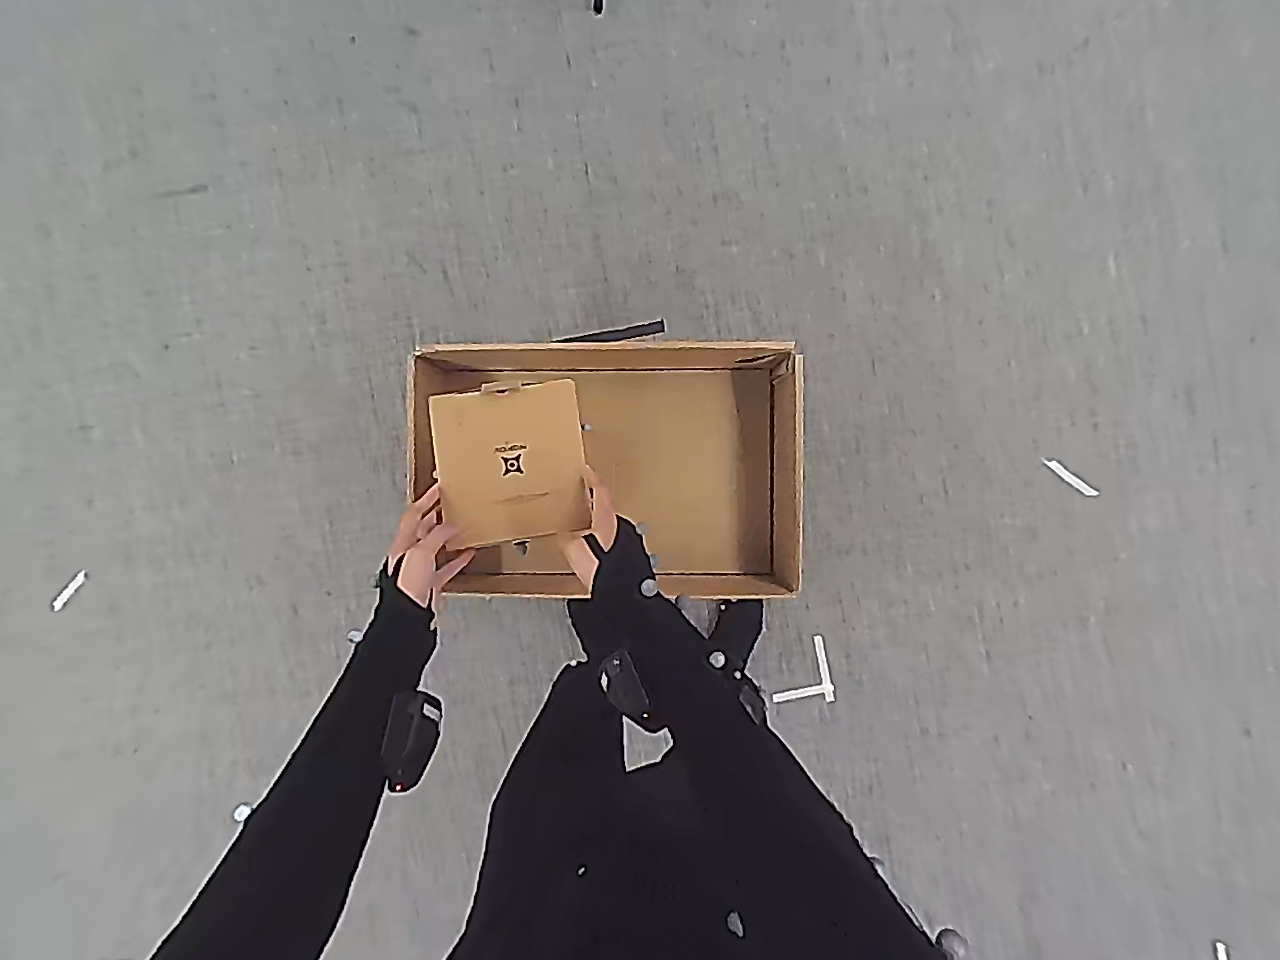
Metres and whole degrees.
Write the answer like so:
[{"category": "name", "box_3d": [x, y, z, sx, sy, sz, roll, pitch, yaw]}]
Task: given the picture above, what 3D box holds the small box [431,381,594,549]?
[{"category": "small box", "box_3d": [-0.152, -0.010, 0.684, 0.168, 0.176, 0.179, -8, 84, -6]}]
